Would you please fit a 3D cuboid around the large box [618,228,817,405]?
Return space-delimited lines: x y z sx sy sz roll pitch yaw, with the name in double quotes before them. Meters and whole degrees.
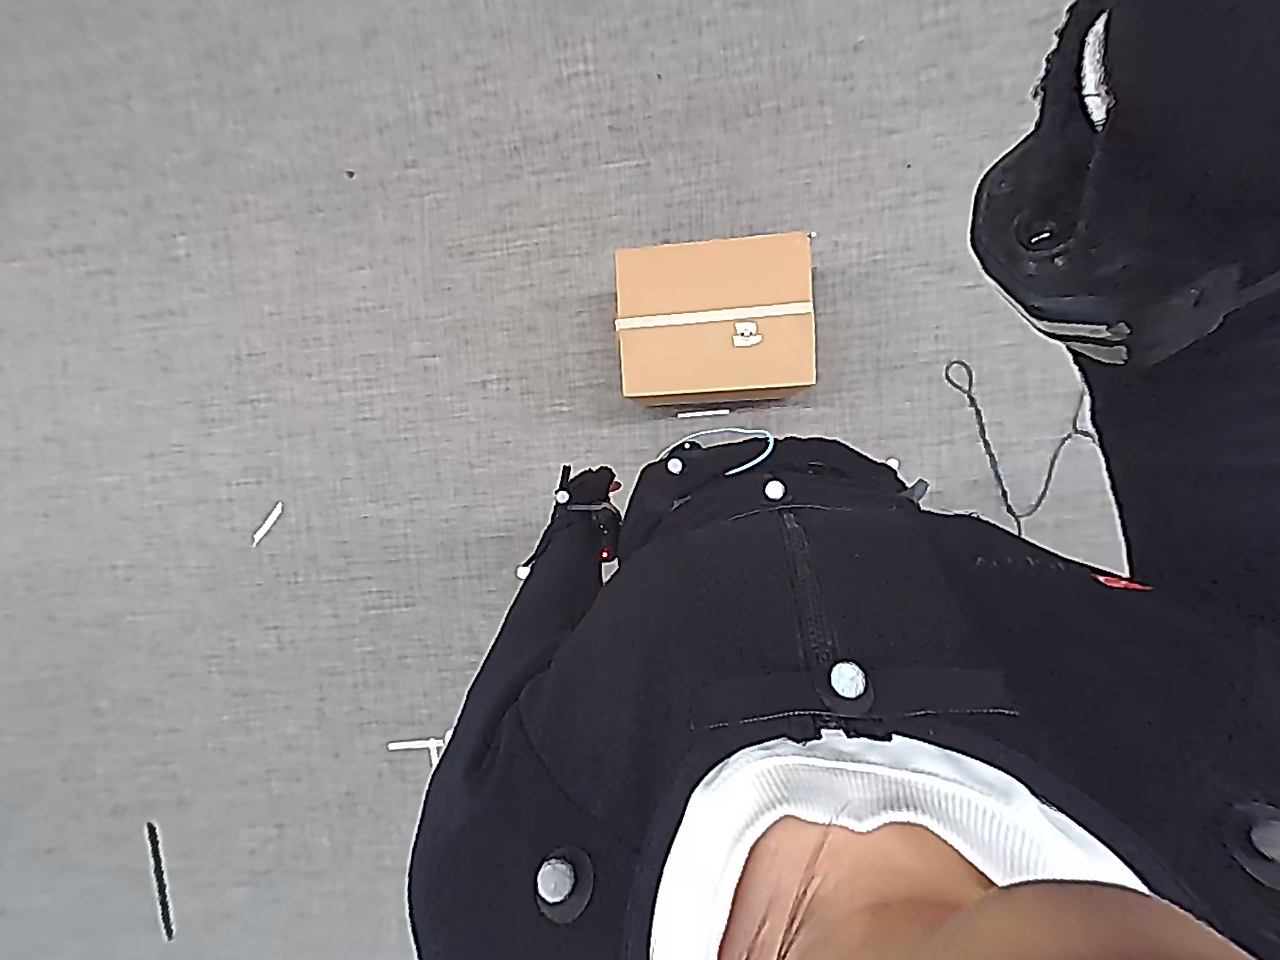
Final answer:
"large box" 0.174 -0.358 1.279 0.408 0.320 0.320 -3 94 6
